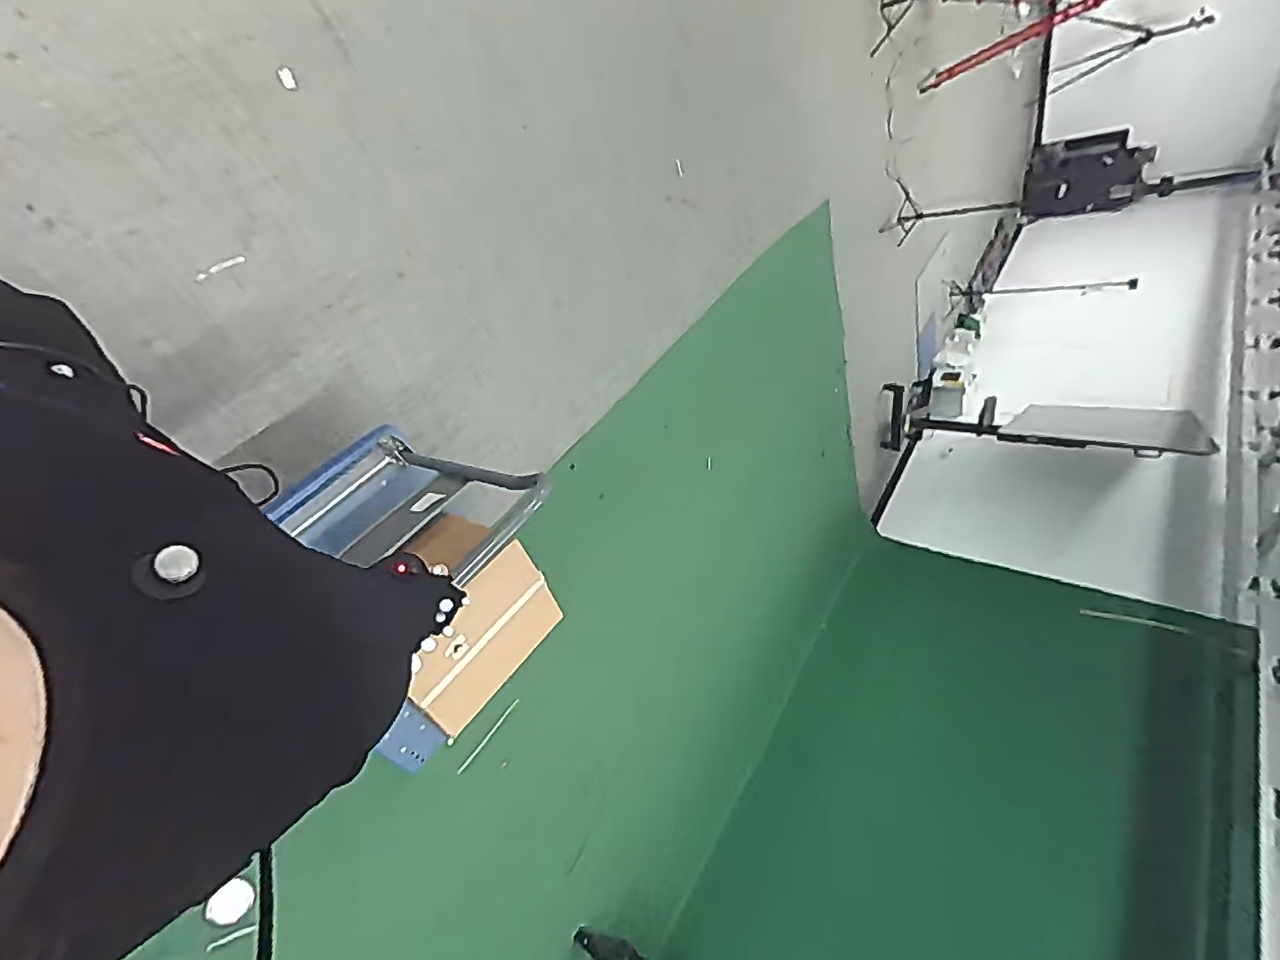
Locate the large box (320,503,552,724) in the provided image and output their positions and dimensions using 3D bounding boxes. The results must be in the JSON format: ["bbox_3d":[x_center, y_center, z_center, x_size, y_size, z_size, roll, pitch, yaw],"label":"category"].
[{"bbox_3d":[-0.511,0.323,1.406,0.408,0.320,0.320,-46,131,-32],"label":"large box"}]
